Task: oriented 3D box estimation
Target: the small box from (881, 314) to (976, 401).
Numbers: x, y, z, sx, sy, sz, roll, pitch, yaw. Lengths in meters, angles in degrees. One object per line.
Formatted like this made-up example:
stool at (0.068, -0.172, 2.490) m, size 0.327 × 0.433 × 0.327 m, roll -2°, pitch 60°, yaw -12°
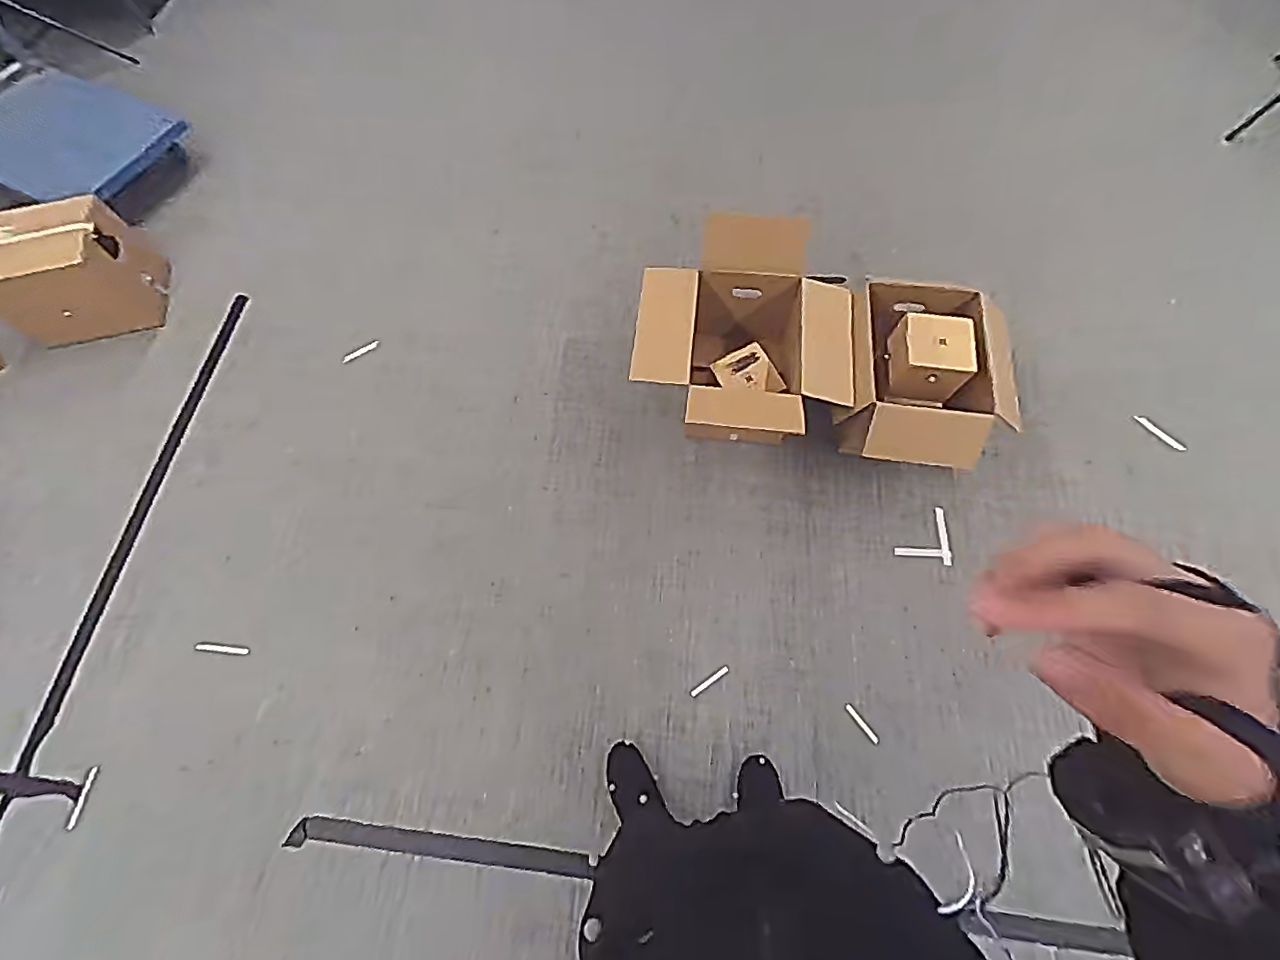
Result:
small box at (0.785, -0.330, 1.485) m, size 0.179 × 0.176 × 0.168 m, roll 6°, pitch 70°, yaw 4°
